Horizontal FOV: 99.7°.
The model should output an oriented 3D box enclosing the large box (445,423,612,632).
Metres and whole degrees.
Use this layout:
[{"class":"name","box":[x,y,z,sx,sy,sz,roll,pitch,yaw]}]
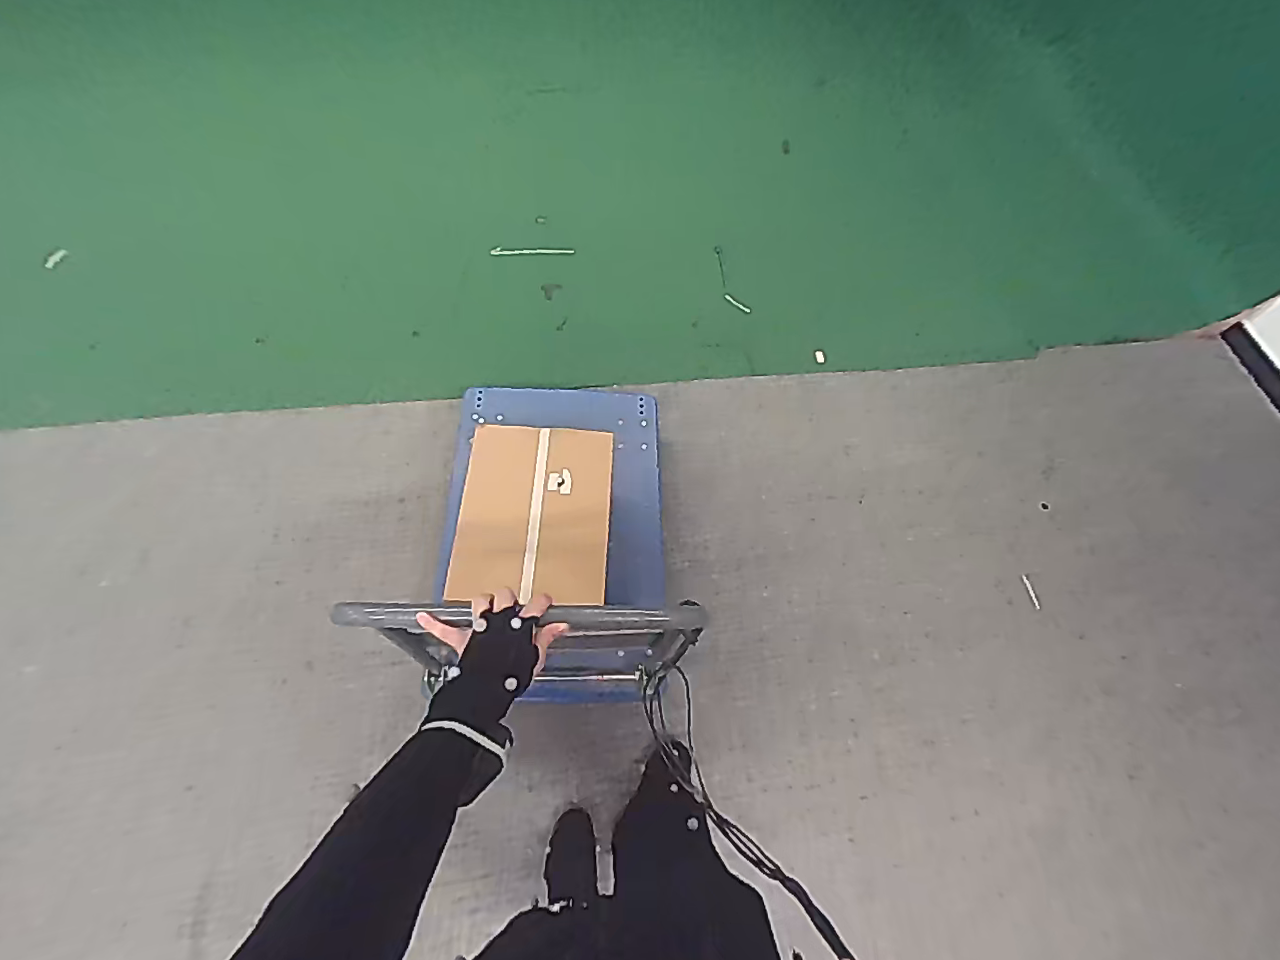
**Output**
[{"class":"large box","box":[-0.233,0.125,1.264,0.320,0.320,0.408,4,63,-5]}]
